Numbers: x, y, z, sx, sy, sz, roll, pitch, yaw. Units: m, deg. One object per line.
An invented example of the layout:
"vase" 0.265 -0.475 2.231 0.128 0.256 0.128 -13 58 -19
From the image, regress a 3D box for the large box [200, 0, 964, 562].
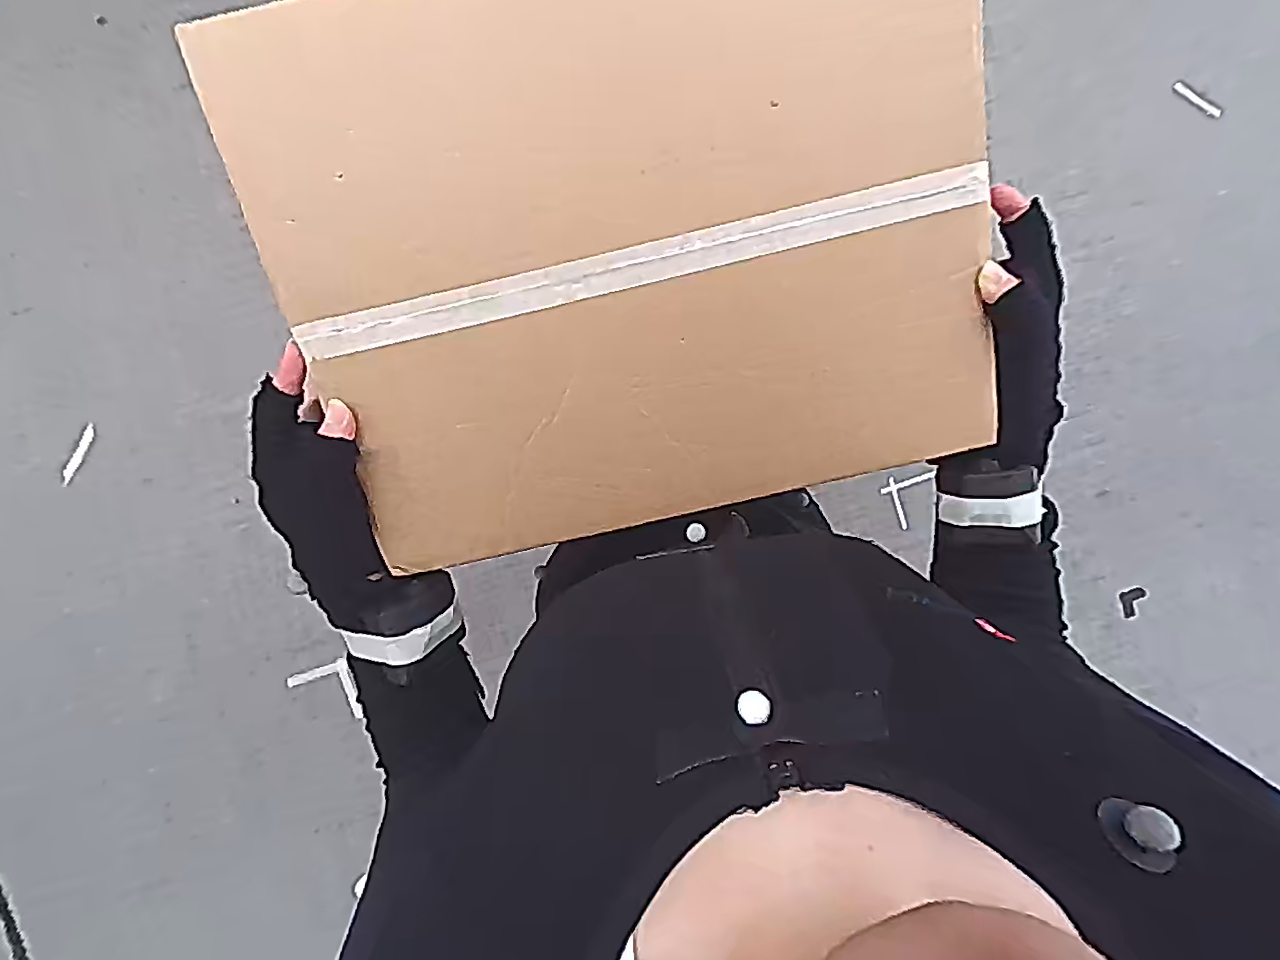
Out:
"large box" -0.013 -0.174 0.464 0.408 0.320 0.320 -13 106 1
